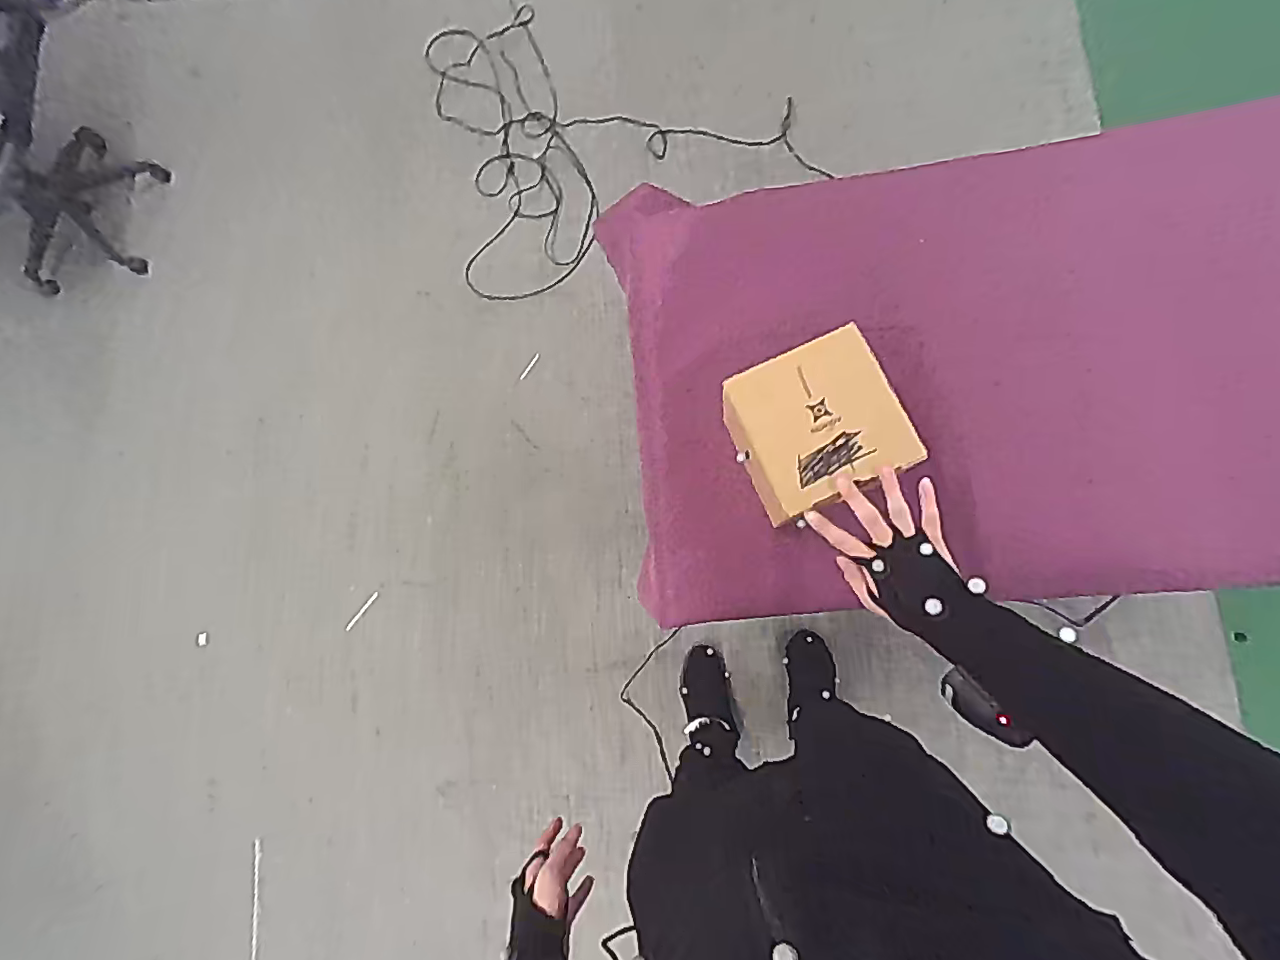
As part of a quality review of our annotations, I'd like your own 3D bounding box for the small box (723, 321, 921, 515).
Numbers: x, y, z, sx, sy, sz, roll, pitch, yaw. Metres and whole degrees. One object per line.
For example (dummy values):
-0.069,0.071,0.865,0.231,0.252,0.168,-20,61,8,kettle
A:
0.215,-0.062,0.686,0.168,0.176,0.179,-23,77,5,small box
